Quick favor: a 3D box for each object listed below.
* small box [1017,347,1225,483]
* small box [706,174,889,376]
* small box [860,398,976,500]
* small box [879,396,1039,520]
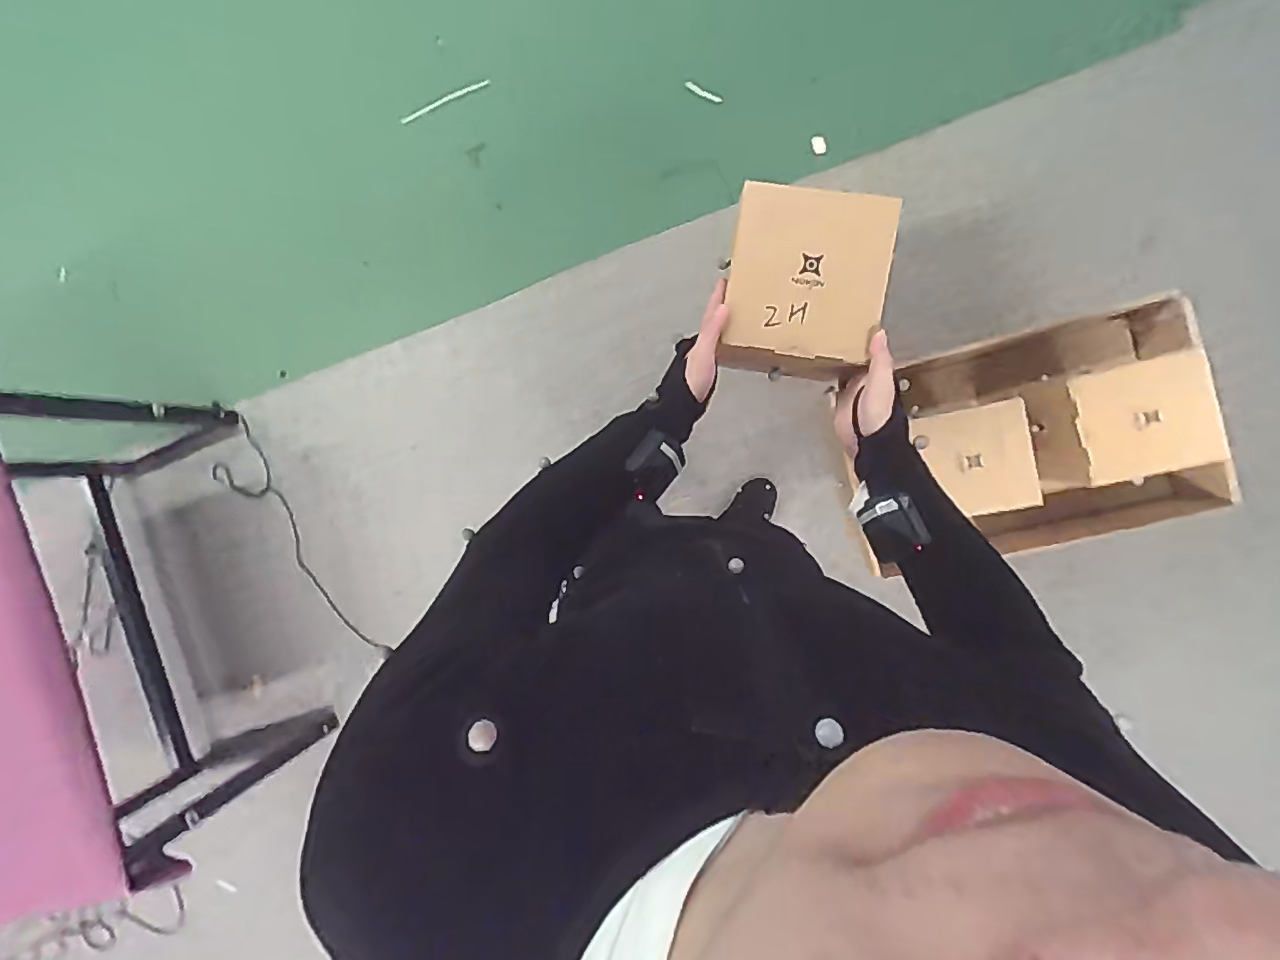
[{"bbox_3d":[0.747,-0.098,0.861,0.179,0.176,0.168,-14,91,12],"label":"small box"},{"bbox_3d":[0.174,-0.232,0.652,0.168,0.176,0.179,9,95,4],"label":"small box"},{"bbox_3d":[0.547,-0.054,1.060,0.179,0.176,0.168,-13,91,9],"label":"small box"},{"bbox_3d":[0.514,-0.035,0.901,0.179,0.176,0.168,-11,92,9],"label":"small box"}]
